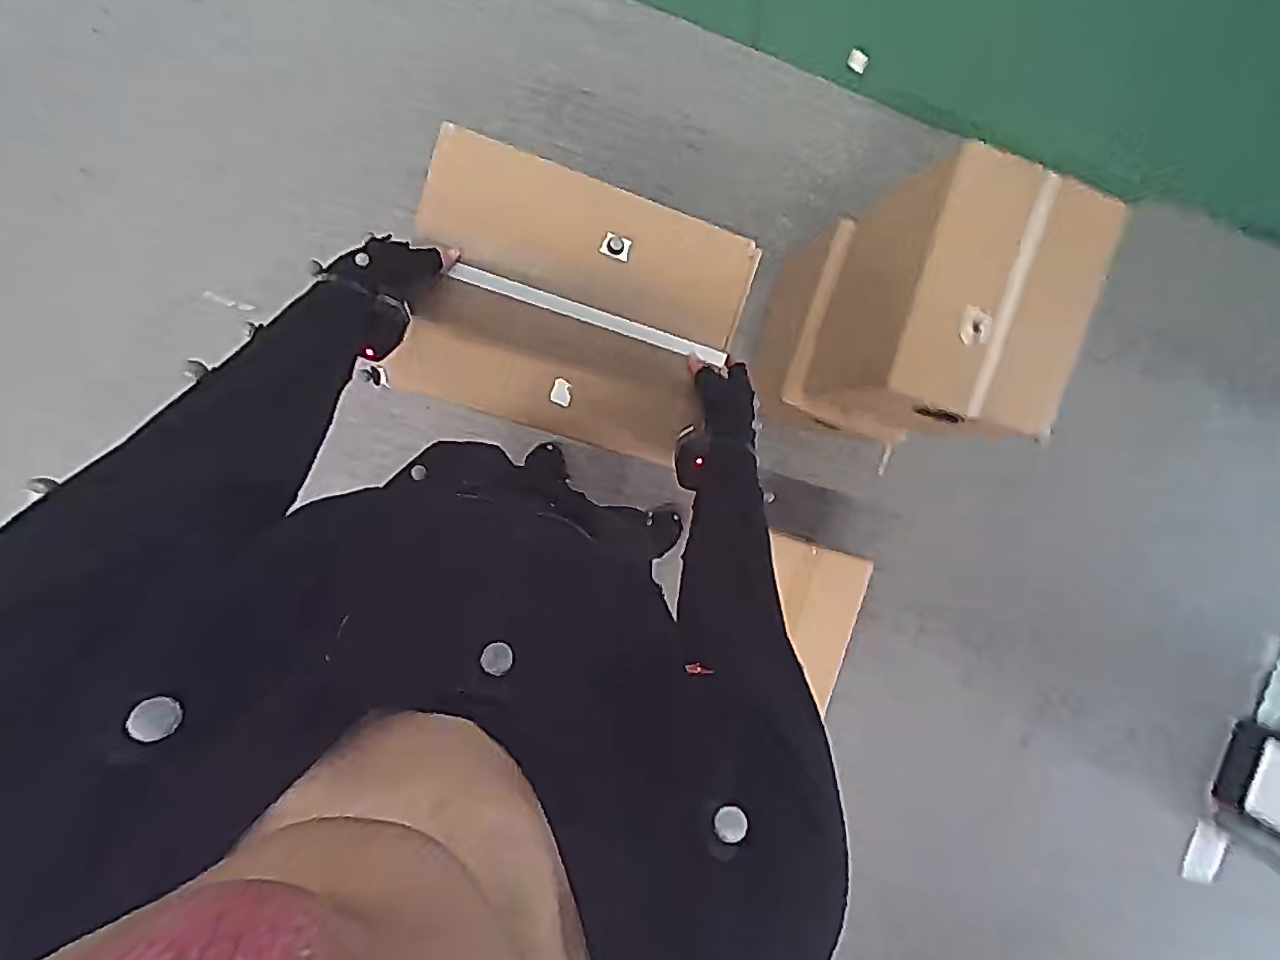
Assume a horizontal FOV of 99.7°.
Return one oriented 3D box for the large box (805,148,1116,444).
[{"bbox_3d":[0.573,-0.313,1.032,0.320,0.320,0.408,16,95,-10],"label":"large box"}]
